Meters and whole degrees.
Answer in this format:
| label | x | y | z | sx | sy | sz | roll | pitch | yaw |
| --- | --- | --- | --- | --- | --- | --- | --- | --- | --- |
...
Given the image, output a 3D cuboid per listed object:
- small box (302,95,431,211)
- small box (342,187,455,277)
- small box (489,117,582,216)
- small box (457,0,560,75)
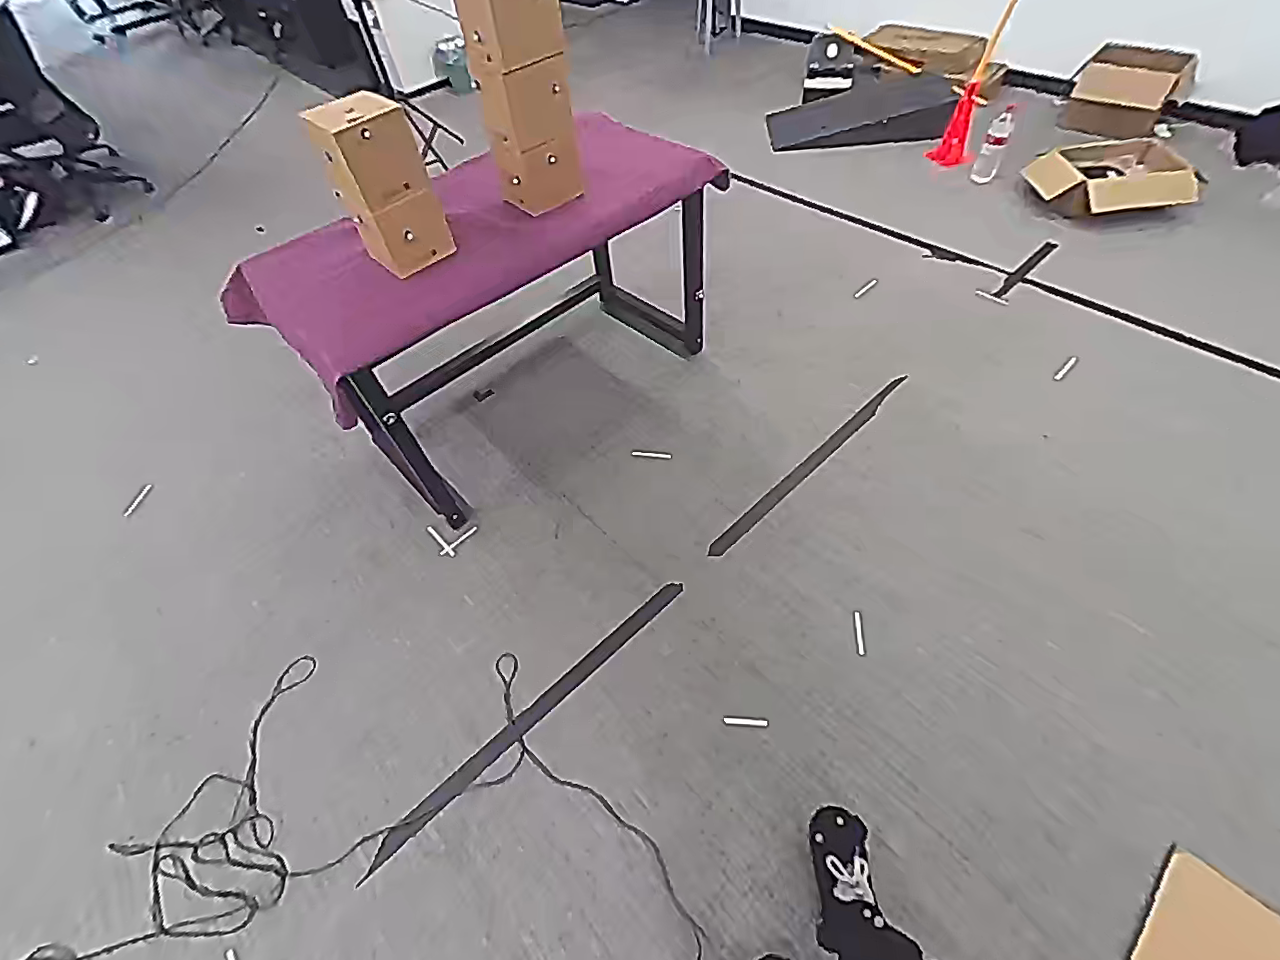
| label | x | y | z | sx | sy | sz | roll | pitch | yaw |
| --- | --- | --- | --- | --- | --- | --- | --- | --- | --- |
| small box | -0.614 | -0.739 | 1.227 | 0.179 | 0.176 | 0.168 | 36 | 65 | 29 |
| small box | -0.595 | -0.637 | 1.355 | 0.168 | 0.176 | 0.179 | -40 | 59 | -21 |
| small box | -0.278 | -0.853 | 1.480 | 0.179 | 0.176 | 0.168 | -37 | 59 | -20 |
| small box | -0.296 | -1.052 | 1.217 | 0.179 | 0.176 | 0.168 | -38 | 59 | -20 |
